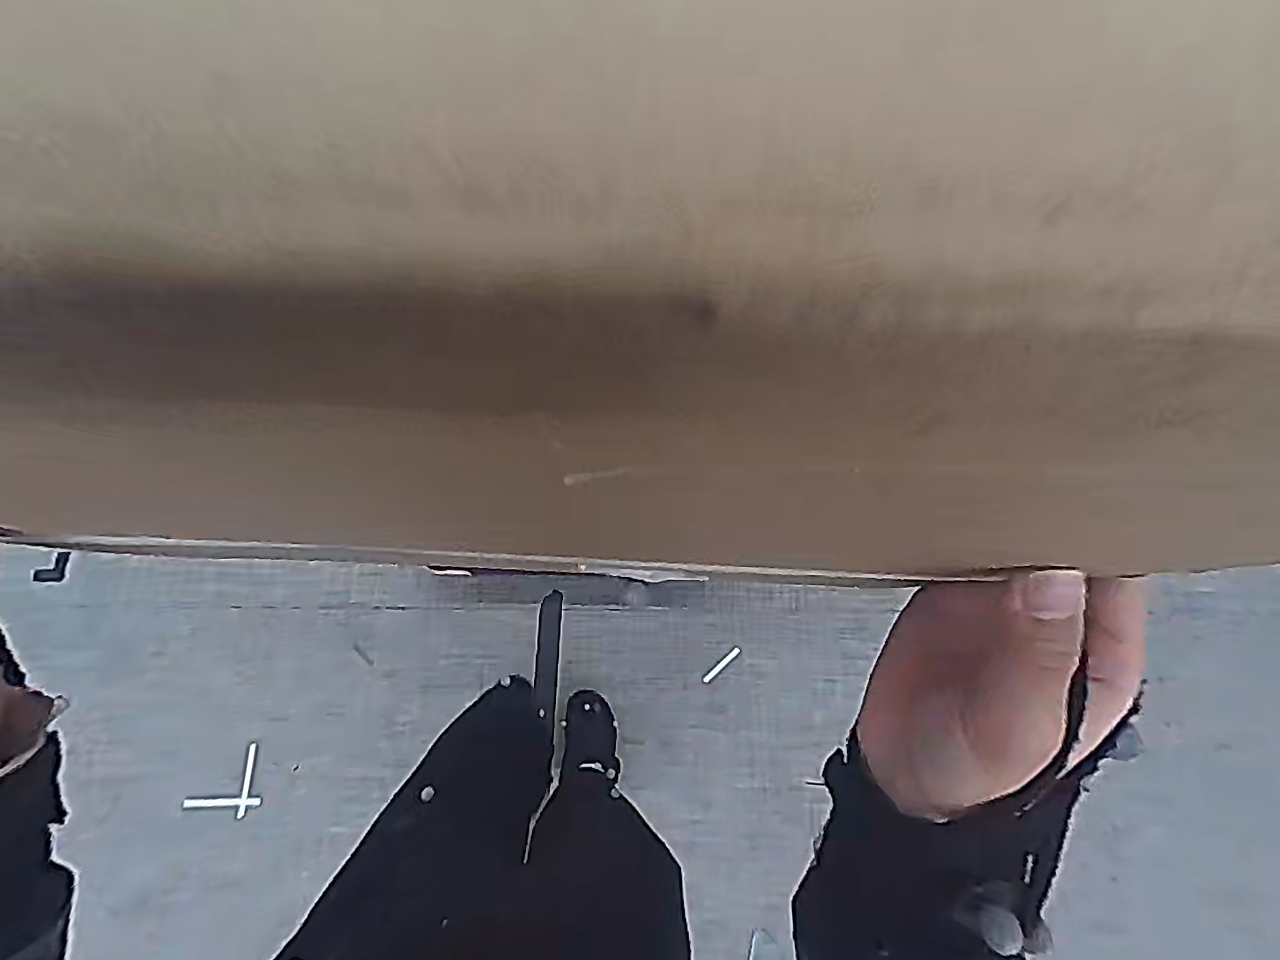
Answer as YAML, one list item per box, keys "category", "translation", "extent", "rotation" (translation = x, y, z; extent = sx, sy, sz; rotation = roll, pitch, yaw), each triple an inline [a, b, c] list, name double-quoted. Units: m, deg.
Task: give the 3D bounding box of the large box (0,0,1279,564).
- category: "large box"
  translation: [-0.076, -0.137, 0.215]
  extent: [0.408, 0.320, 0.320]
  rotation: [1, 78, 2]
